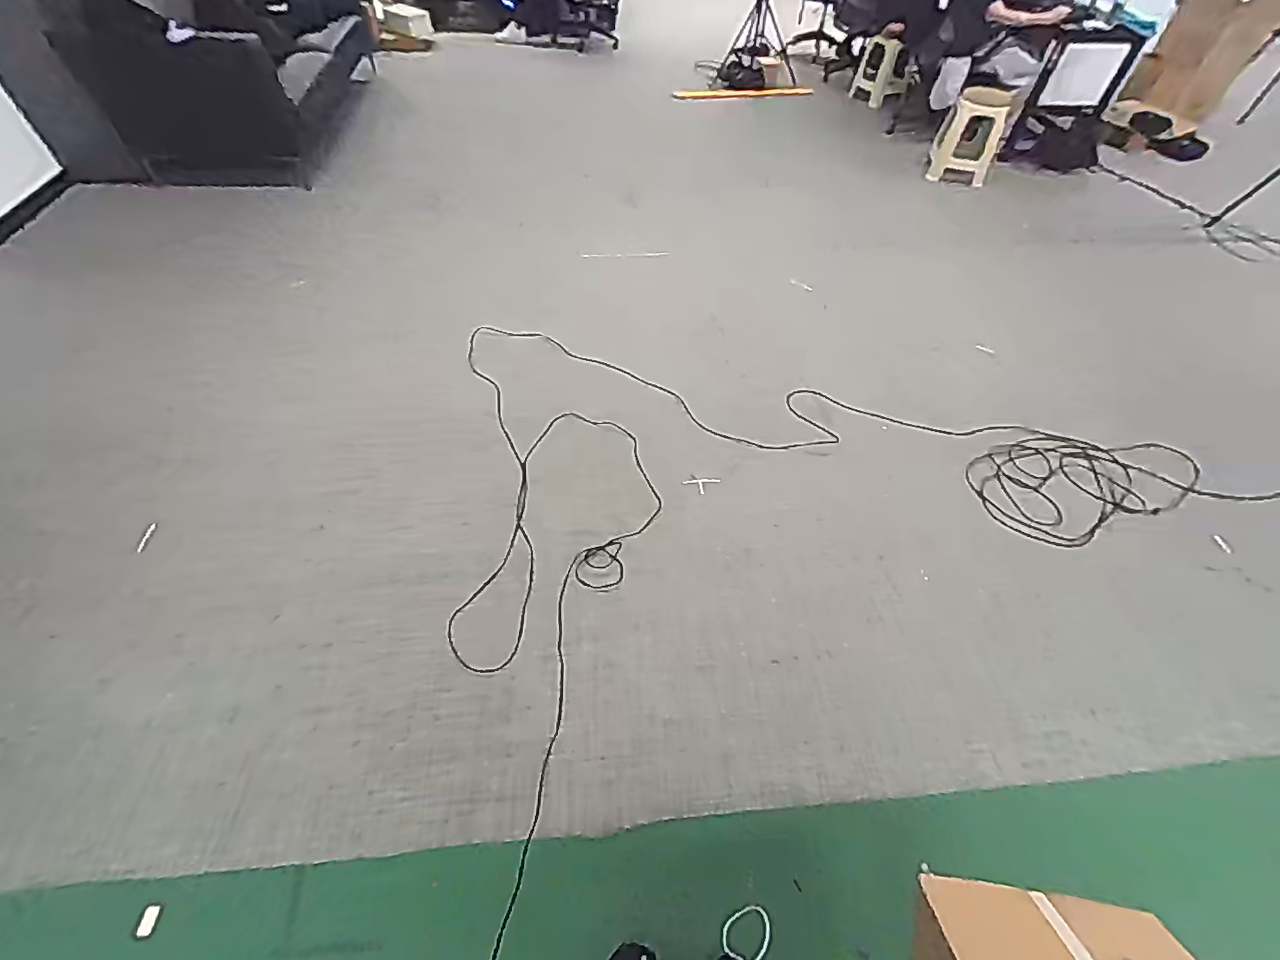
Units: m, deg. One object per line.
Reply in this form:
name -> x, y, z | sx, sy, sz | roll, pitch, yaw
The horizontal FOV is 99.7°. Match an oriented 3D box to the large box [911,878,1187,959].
large box -> 0.524, 0.756, 0.592 | 0.320, 0.408, 0.320 | 5, 92, 8
